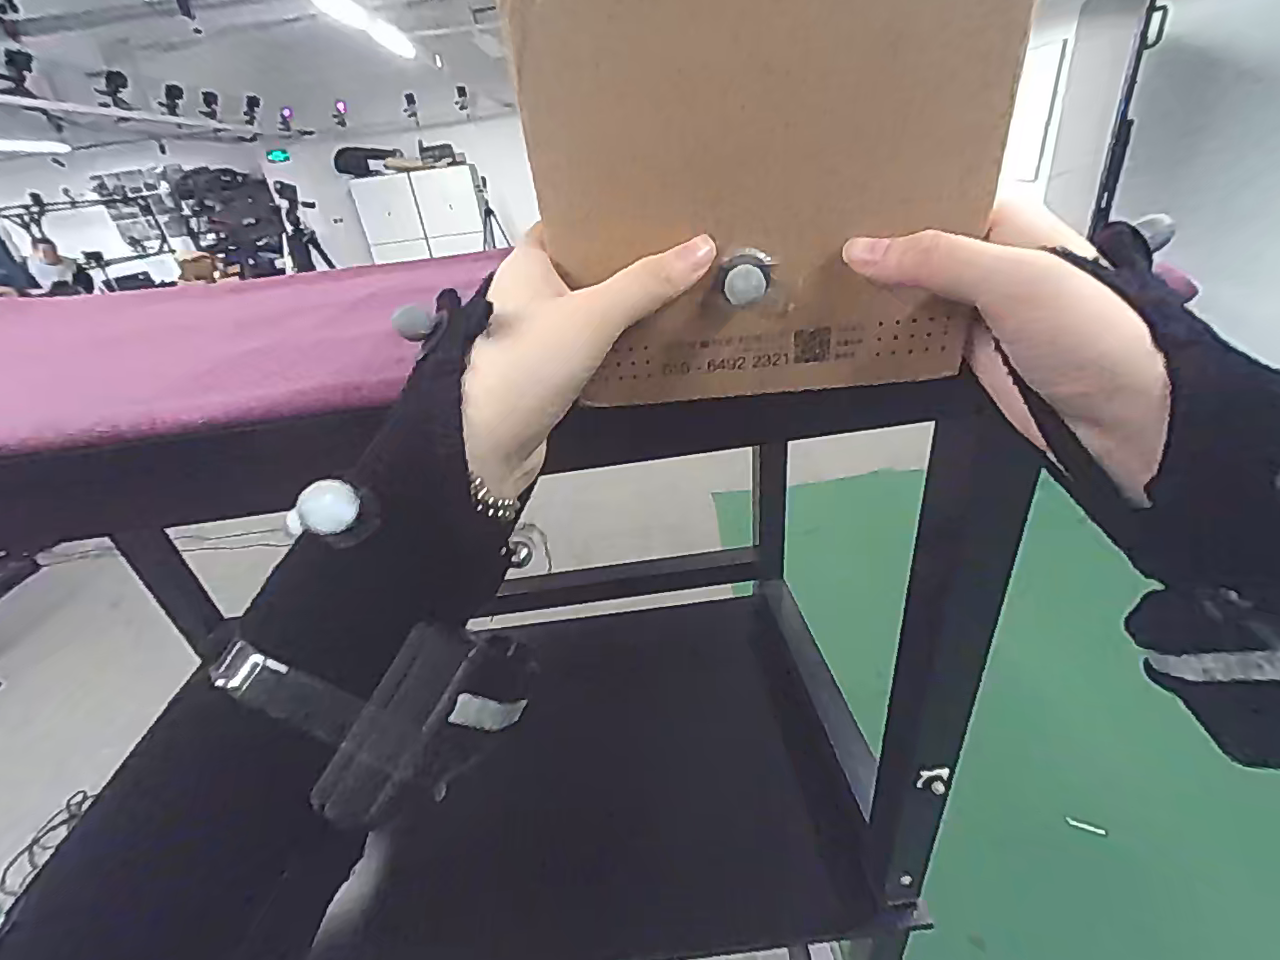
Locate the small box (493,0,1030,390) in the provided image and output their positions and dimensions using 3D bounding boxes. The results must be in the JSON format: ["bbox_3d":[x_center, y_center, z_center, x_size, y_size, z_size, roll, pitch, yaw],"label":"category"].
[{"bbox_3d":[0.044,-0.157,0.255,0.168,0.176,0.179,-3,36,9],"label":"small box"}]
